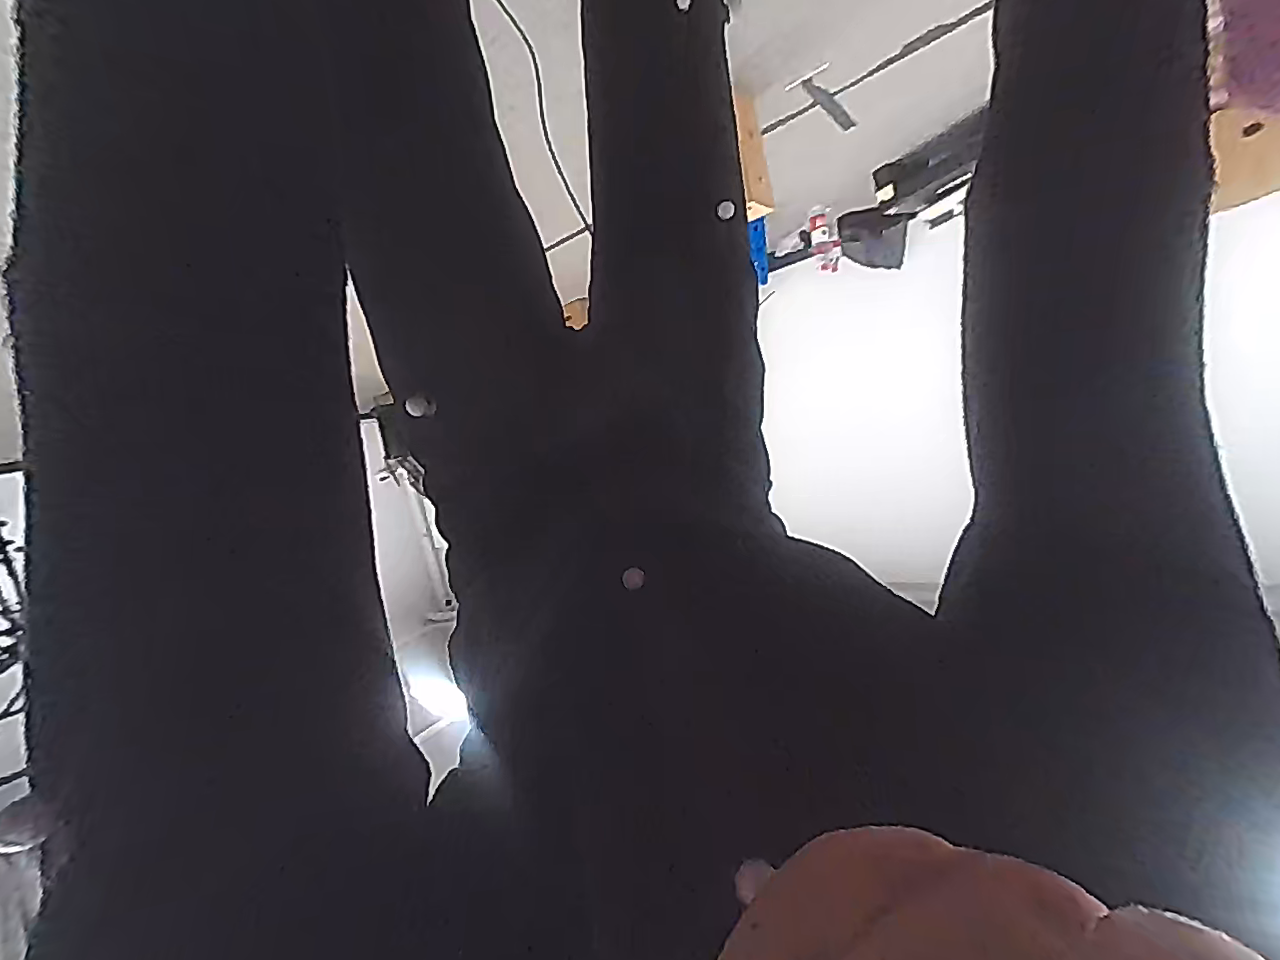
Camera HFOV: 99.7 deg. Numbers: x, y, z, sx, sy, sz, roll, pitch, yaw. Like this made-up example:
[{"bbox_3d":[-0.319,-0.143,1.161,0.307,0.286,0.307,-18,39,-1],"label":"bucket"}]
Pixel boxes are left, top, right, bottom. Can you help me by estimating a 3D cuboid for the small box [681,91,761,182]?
[{"bbox_3d":[0.249,-1.053,1.662,0.168,0.176,0.179,-7,-172,41],"label":"small box"}]
